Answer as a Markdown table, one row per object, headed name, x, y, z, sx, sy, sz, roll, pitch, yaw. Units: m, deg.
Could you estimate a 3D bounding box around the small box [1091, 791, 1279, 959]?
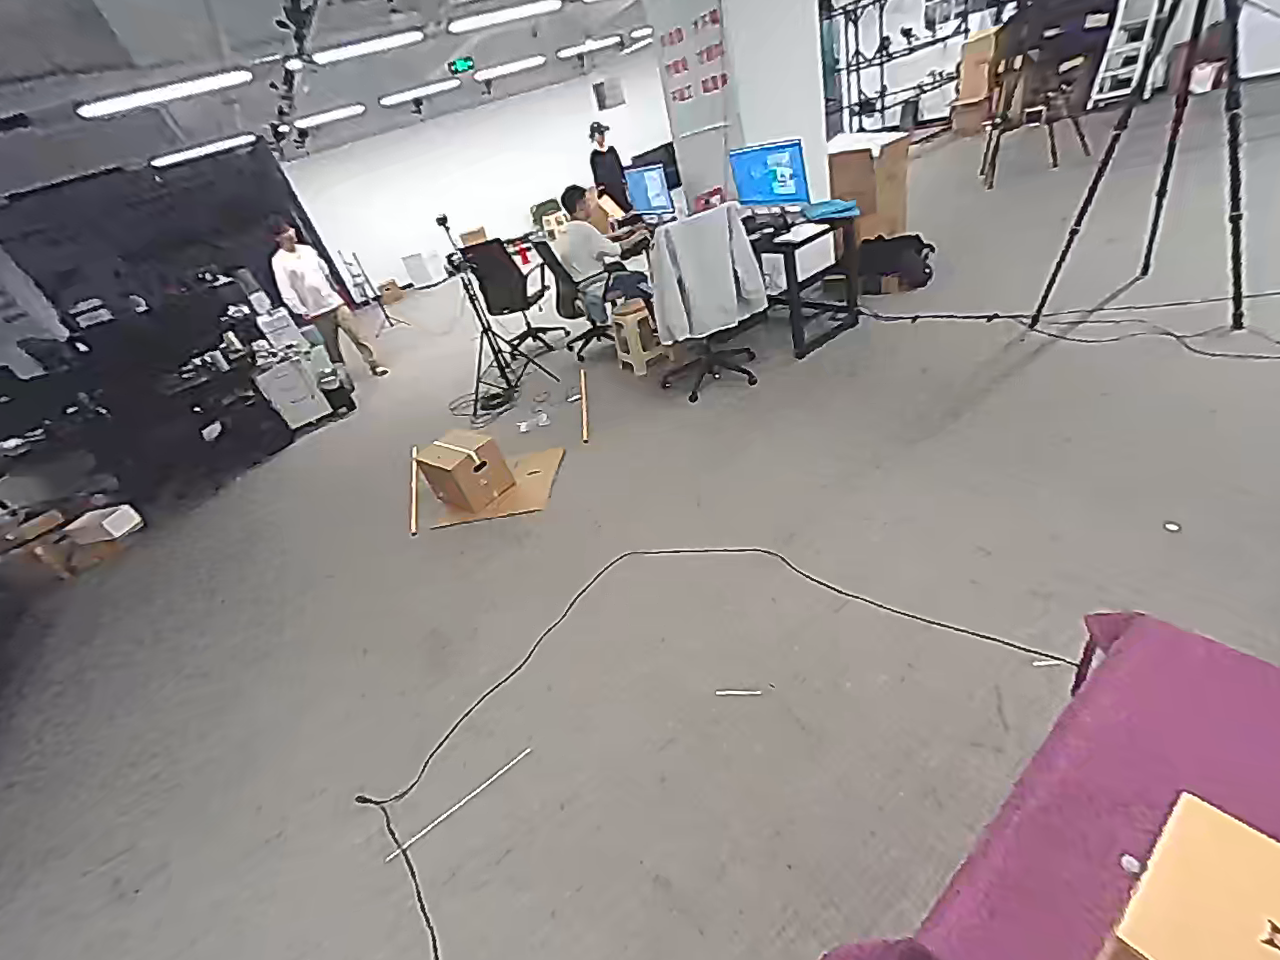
| name | x | y | z | sx | sy | sz | roll | pitch | yaw |
| --- | --- | --- | --- | --- | --- | --- | --- | --- | --- |
| small box | 0.527 | 0.426 | 0.462 | 0.168 | 0.176 | 0.179 | -34 | 36 | -23 |
